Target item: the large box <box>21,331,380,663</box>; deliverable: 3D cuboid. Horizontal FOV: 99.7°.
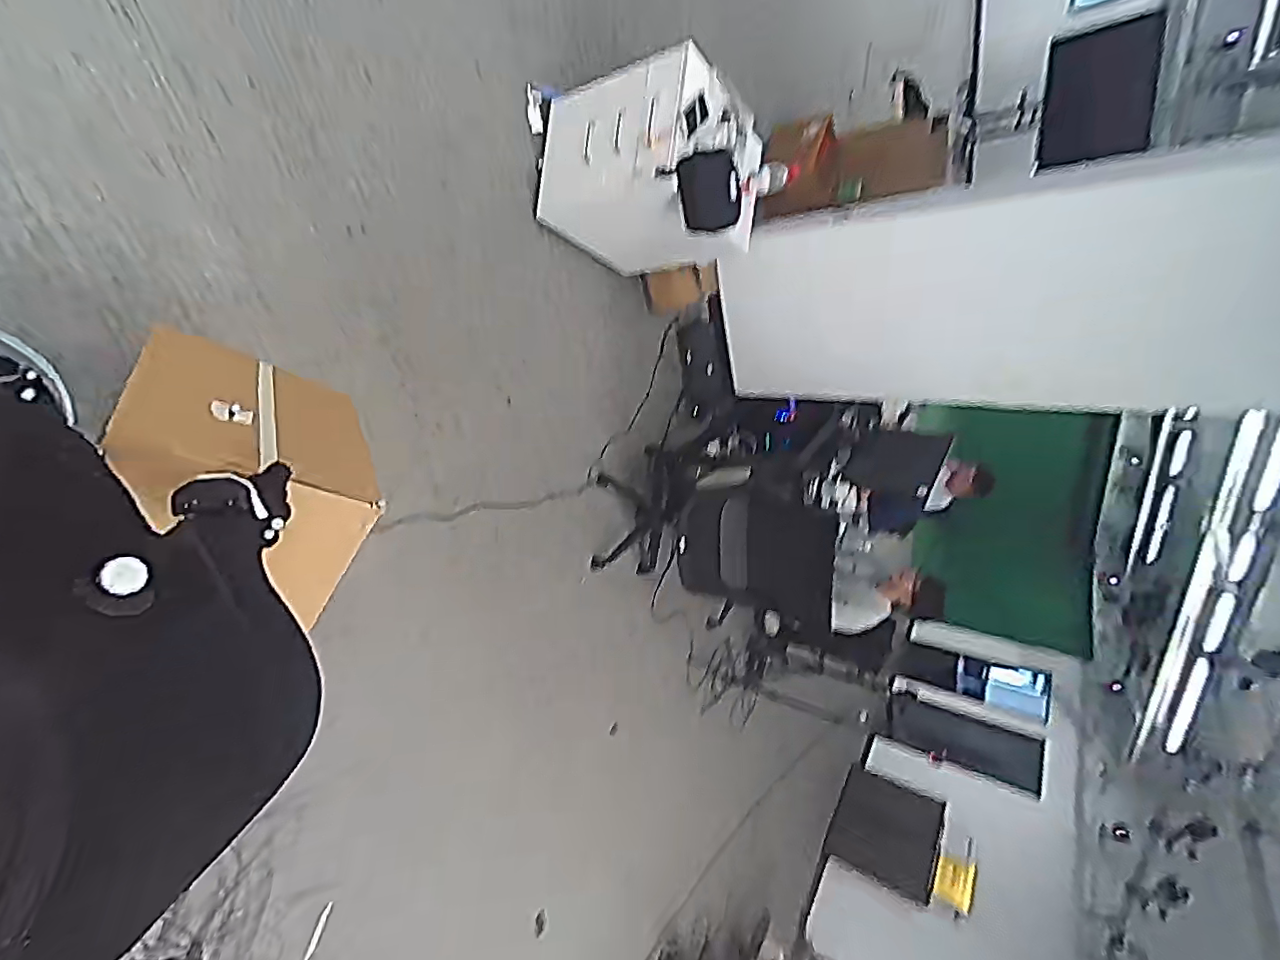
[{"bbox_3d":[-0.670,0.026,0.867,0.320,0.408,0.320,23,107,-43],"label":"large box"}]
